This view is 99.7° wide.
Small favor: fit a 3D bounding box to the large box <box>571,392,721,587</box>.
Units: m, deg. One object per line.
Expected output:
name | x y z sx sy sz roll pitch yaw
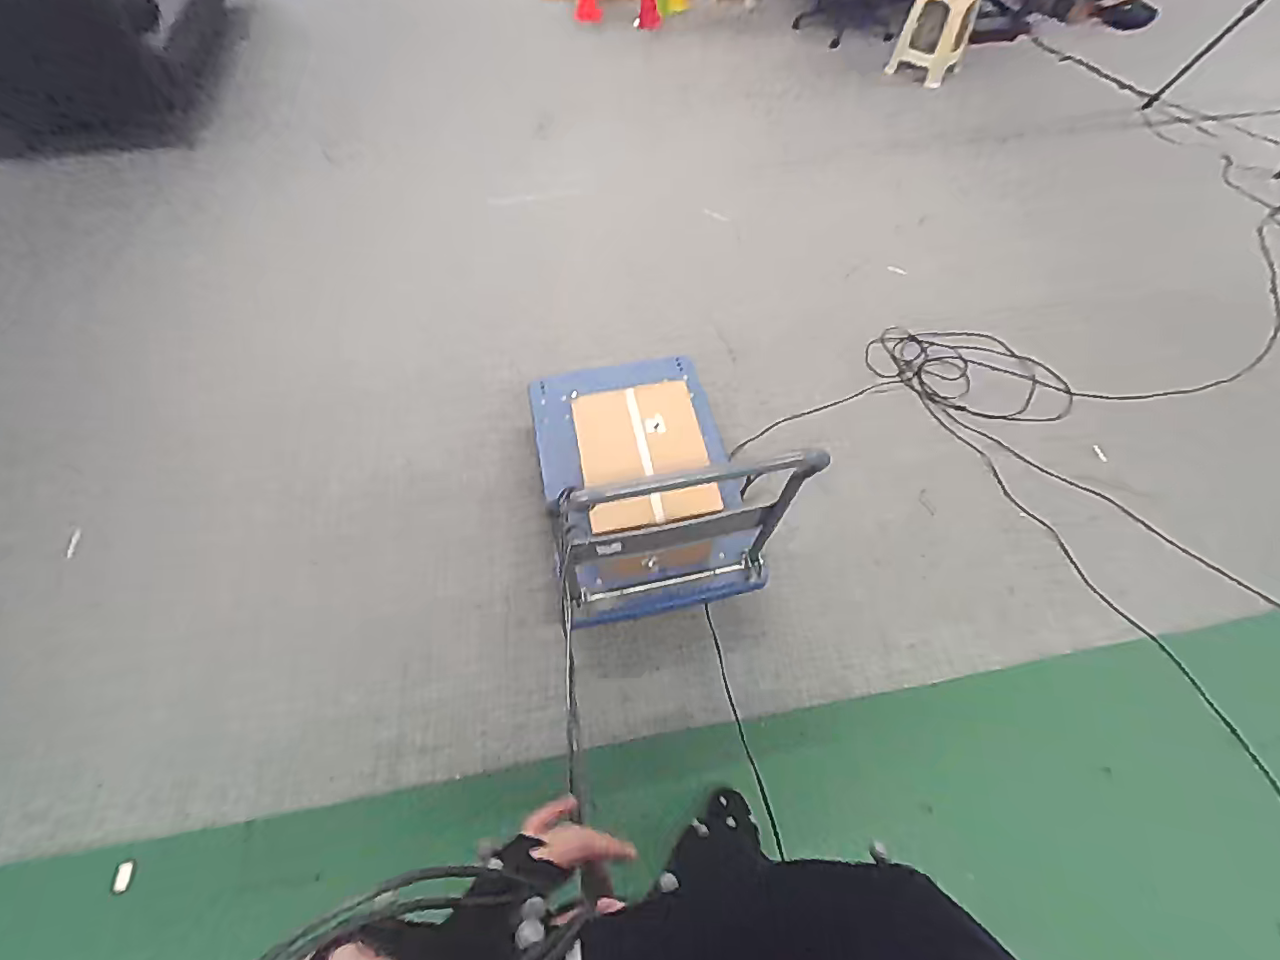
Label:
large box | 0.006 0.029 1.481 0.320 0.320 0.408 -9 58 -6
